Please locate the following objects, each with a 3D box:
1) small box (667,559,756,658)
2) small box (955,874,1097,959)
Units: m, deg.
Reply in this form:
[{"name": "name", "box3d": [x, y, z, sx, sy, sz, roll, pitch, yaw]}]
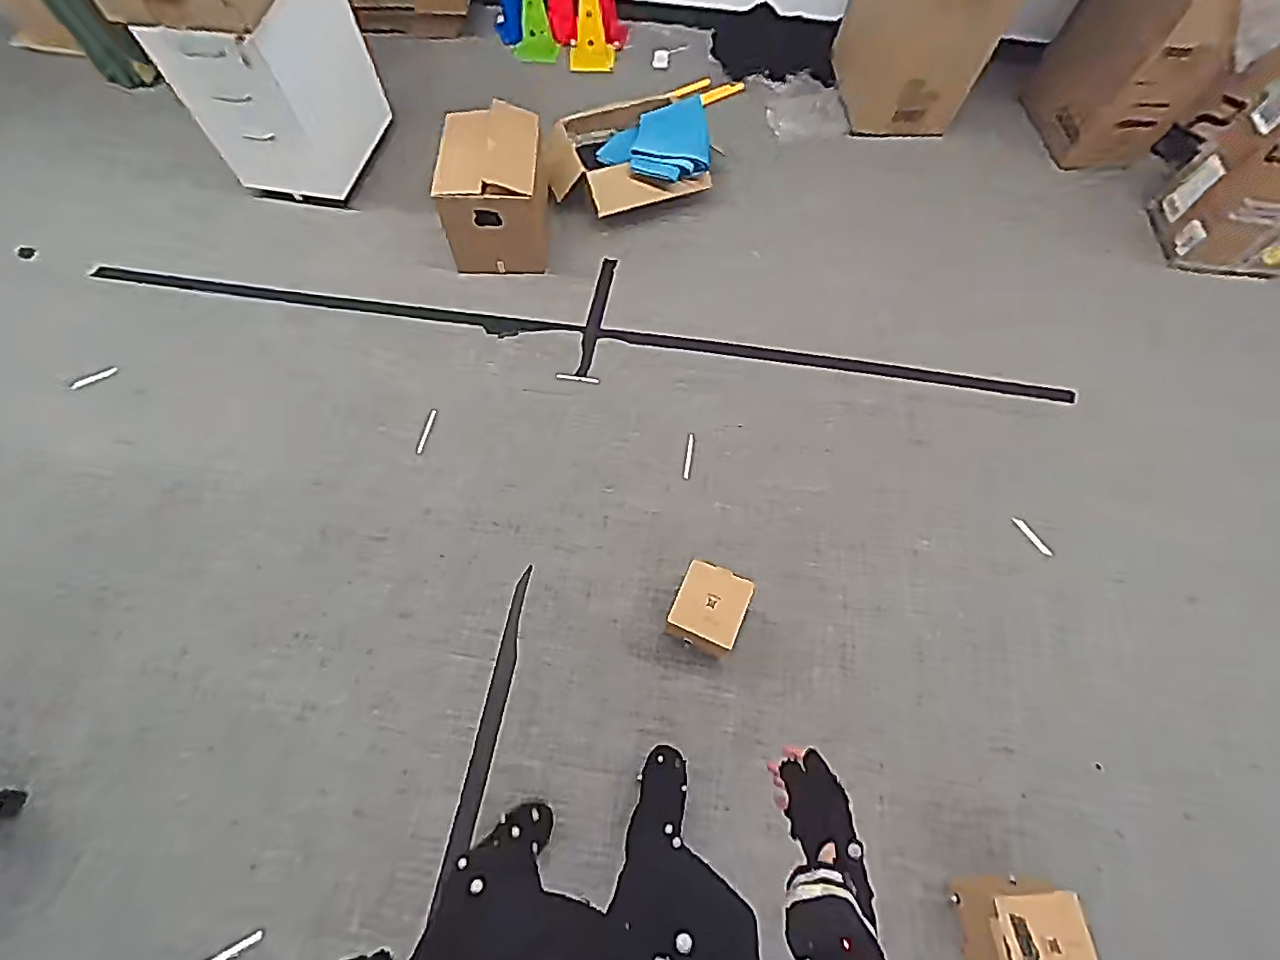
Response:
[{"name": "small box", "box3d": [0.174, 0.330, 1.369, 0.168, 0.176, 0.179, 22, 67, 10]}, {"name": "small box", "box3d": [0.781, 0.927, 1.107, 0.179, 0.176, 0.168, -2, 65, -3]}]
